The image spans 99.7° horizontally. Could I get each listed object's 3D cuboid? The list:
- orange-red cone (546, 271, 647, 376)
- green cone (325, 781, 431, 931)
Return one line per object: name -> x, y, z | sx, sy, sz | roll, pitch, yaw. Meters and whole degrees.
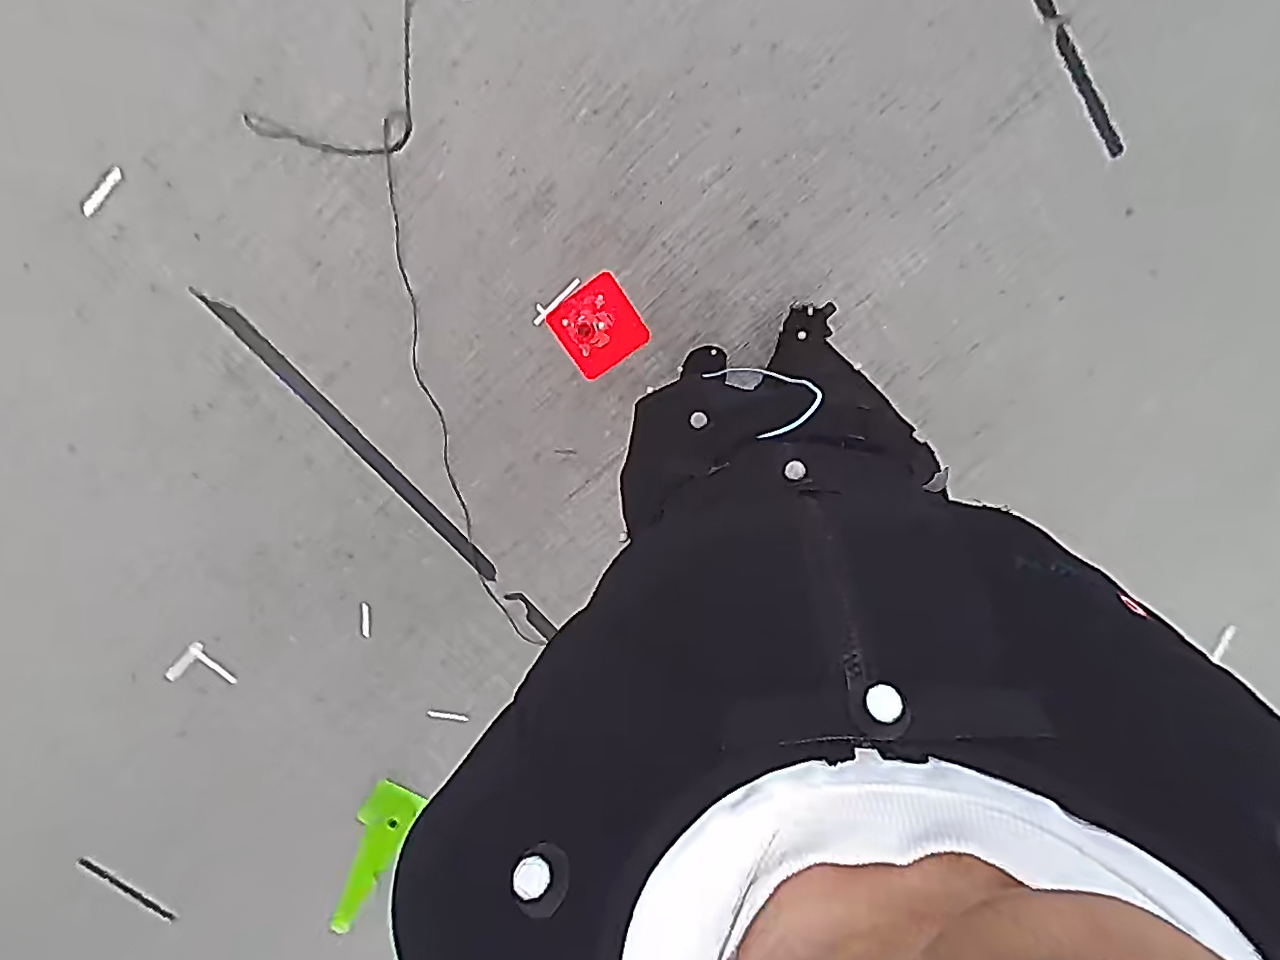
orange-red cone -> -0.105, -0.330, 1.168 | 0.198, 0.360, 0.199 | -32, 105, 10
green cone -> -0.812, 1.138, 1.611 | 0.202, 0.368, 0.200 | 33, 103, -8
